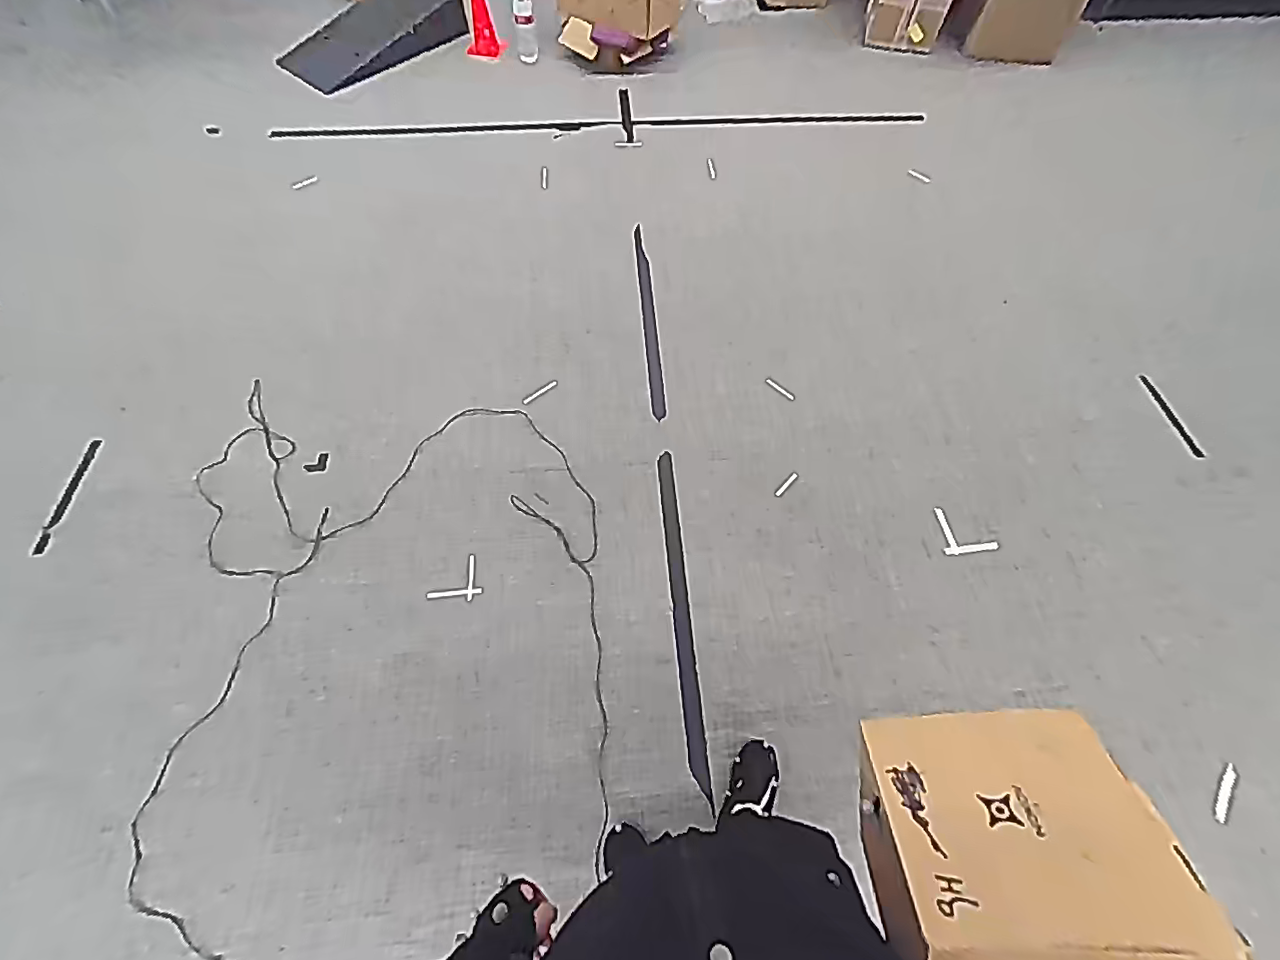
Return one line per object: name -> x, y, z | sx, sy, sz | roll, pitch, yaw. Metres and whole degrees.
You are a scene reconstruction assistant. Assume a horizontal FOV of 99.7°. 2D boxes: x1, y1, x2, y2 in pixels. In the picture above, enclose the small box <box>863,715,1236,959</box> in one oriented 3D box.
small box -> 0.290, 0.316, 0.437 | 0.179, 0.176, 0.168 | -6, 26, 10
